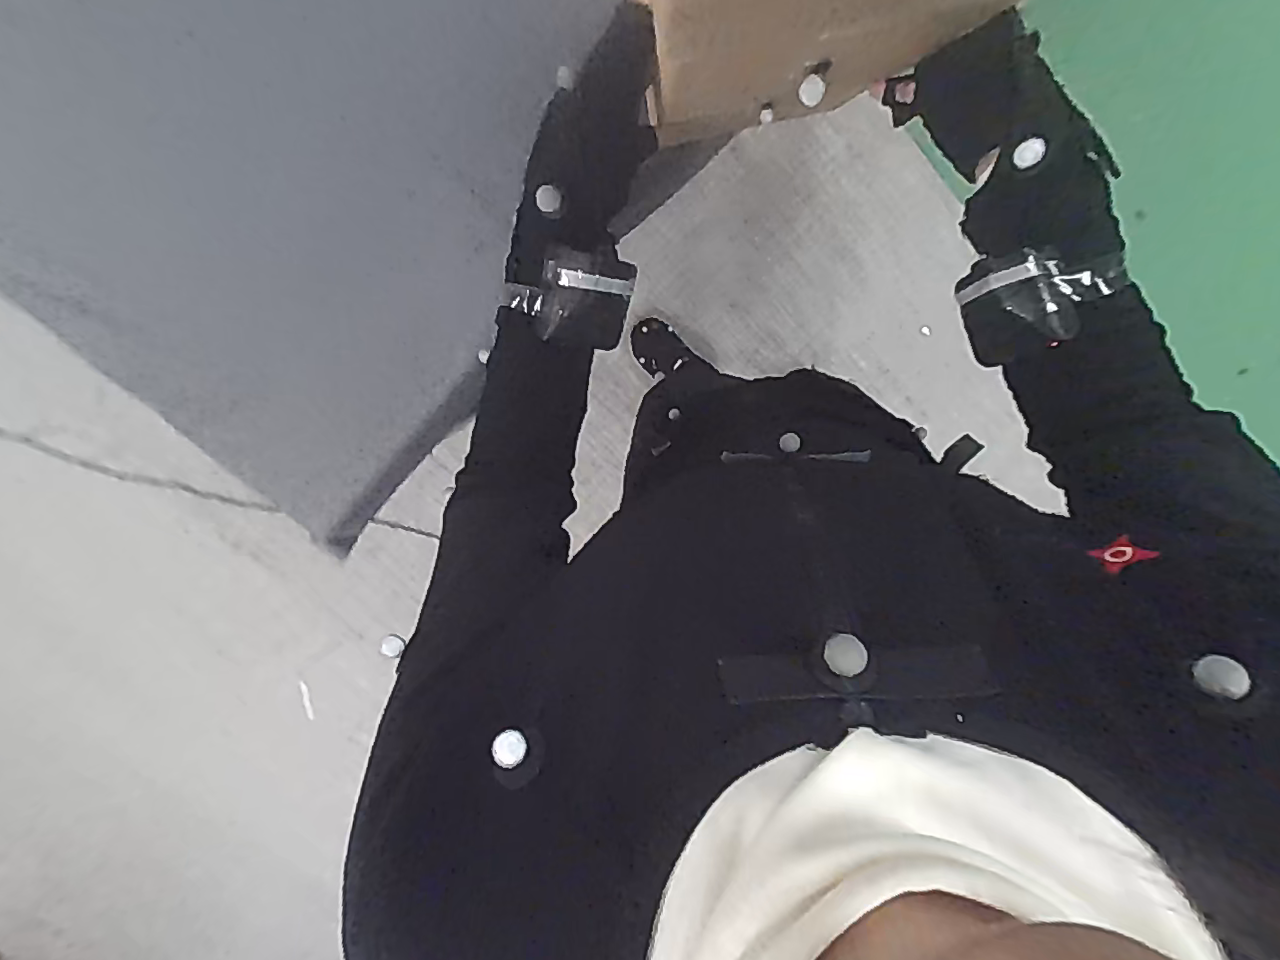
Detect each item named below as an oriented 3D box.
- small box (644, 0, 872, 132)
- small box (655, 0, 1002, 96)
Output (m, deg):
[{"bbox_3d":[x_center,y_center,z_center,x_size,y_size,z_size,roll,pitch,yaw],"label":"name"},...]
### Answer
[{"bbox_3d":[0.091,-0.384,0.411,0.179,0.176,0.168,-10,115,4],"label":"small box"},{"bbox_3d":[0.086,-0.311,0.264,0.168,0.176,0.179,-8,116,5],"label":"small box"}]
